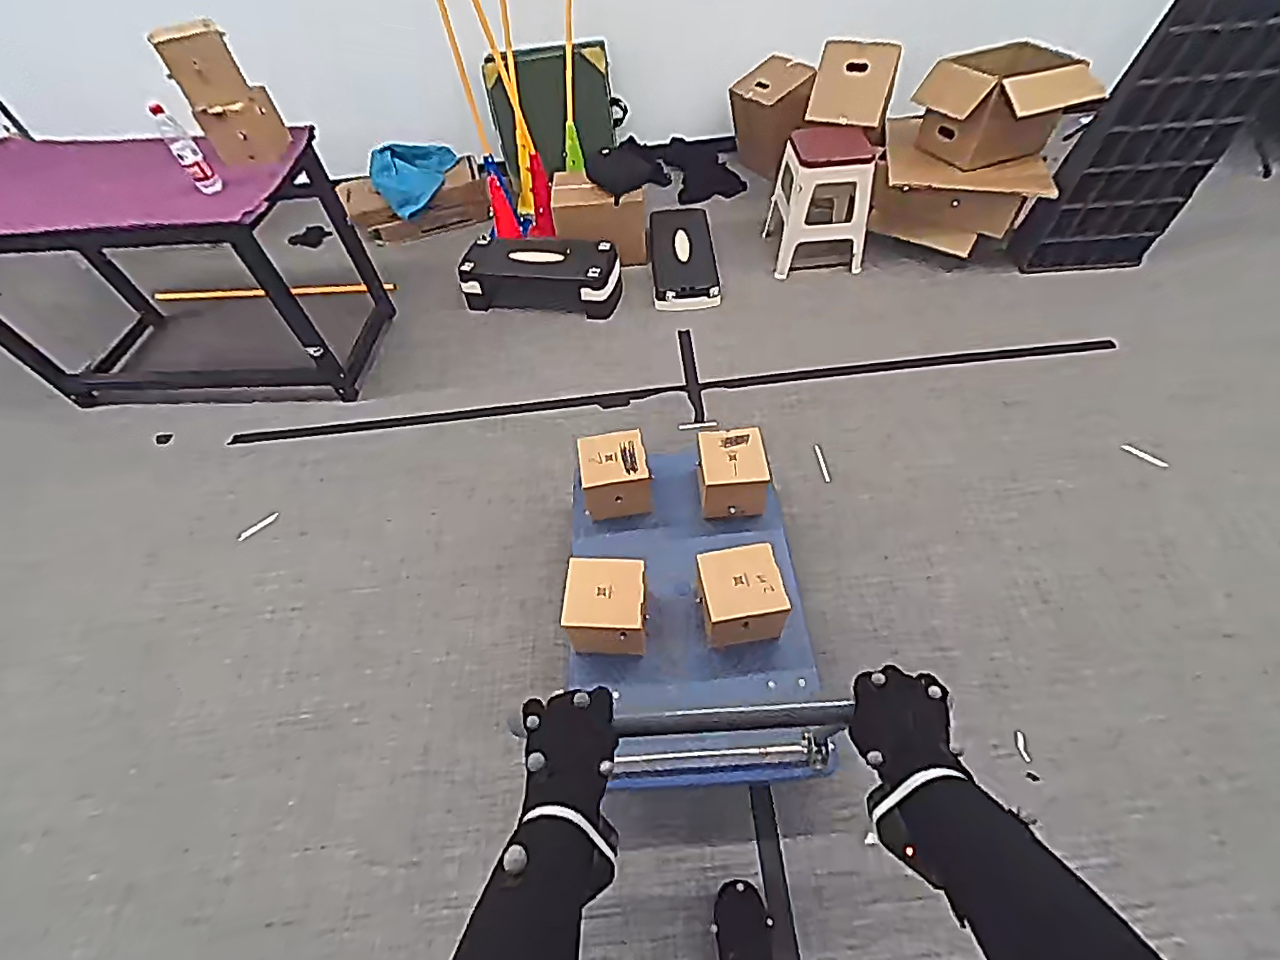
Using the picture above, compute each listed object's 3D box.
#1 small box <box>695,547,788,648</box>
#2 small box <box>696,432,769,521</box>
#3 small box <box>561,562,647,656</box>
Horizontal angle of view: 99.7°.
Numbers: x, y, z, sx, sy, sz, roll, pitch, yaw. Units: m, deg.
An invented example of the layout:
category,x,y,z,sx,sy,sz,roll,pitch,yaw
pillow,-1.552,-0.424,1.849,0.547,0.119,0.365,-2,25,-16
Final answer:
category,x,y,z,sx,sy,sz,roll,pitch,yaw
small box,0.229,0.279,1.262,0.179,0.176,0.168,-9,54,-2
small box,0.243,-0.007,1.468,0.168,0.176,0.179,-5,55,1
small box,-0.076,0.305,1.267,0.179,0.176,0.168,1,54,3
